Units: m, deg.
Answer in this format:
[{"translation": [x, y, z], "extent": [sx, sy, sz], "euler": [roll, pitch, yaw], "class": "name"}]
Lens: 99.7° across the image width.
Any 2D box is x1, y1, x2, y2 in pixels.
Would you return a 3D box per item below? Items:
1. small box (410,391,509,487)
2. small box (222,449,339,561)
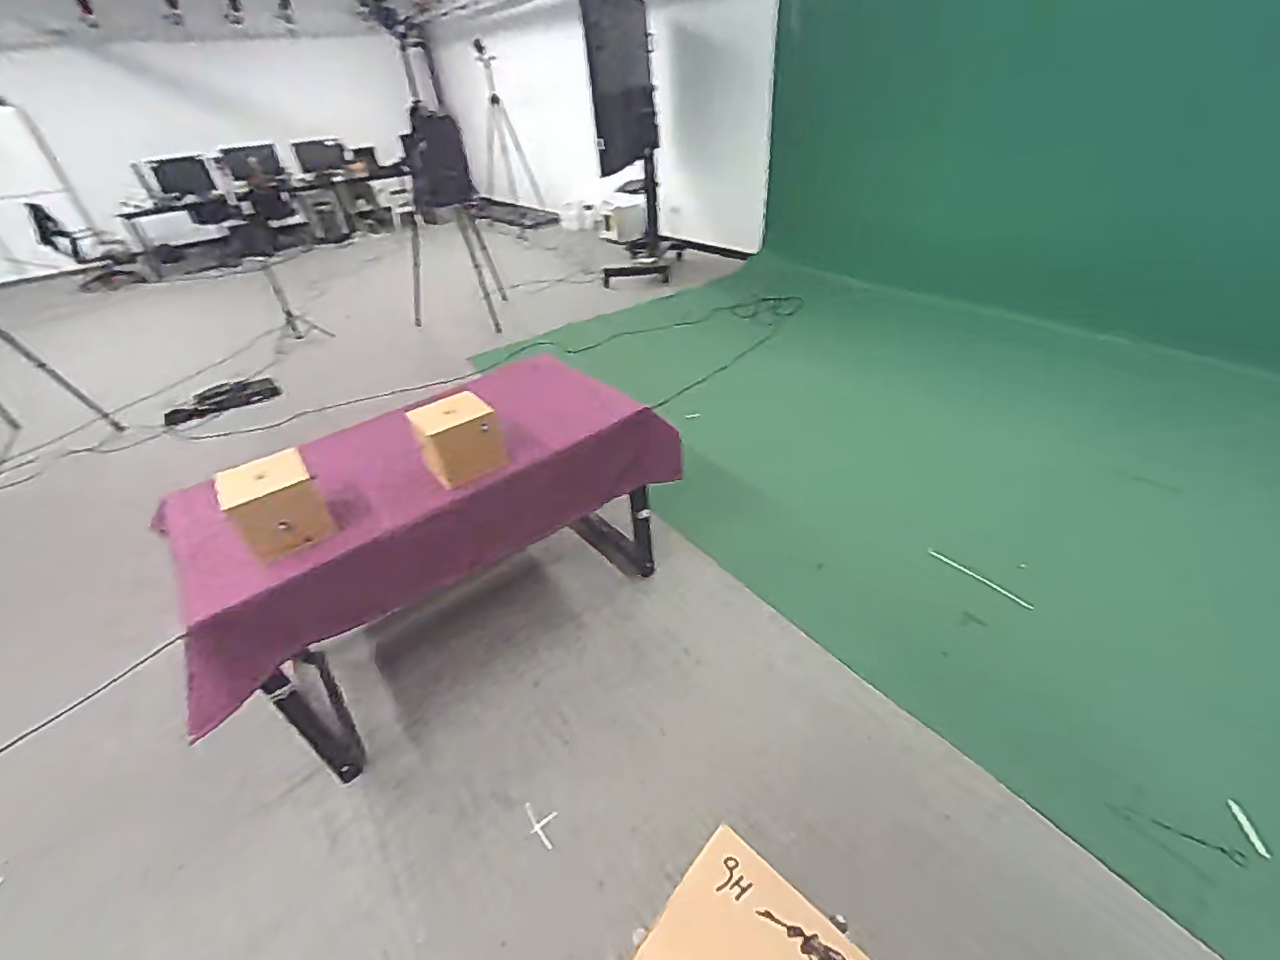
[{"translation": [-0.469, -0.106, 1.419], "extent": [0.179, 0.176, 0.168], "euler": [-28, 42, -28], "class": "small box"}, {"translation": [-0.821, 0.061, 1.242], "extent": [0.168, 0.176, 0.179], "euler": [-27, 41, -27], "class": "small box"}]
